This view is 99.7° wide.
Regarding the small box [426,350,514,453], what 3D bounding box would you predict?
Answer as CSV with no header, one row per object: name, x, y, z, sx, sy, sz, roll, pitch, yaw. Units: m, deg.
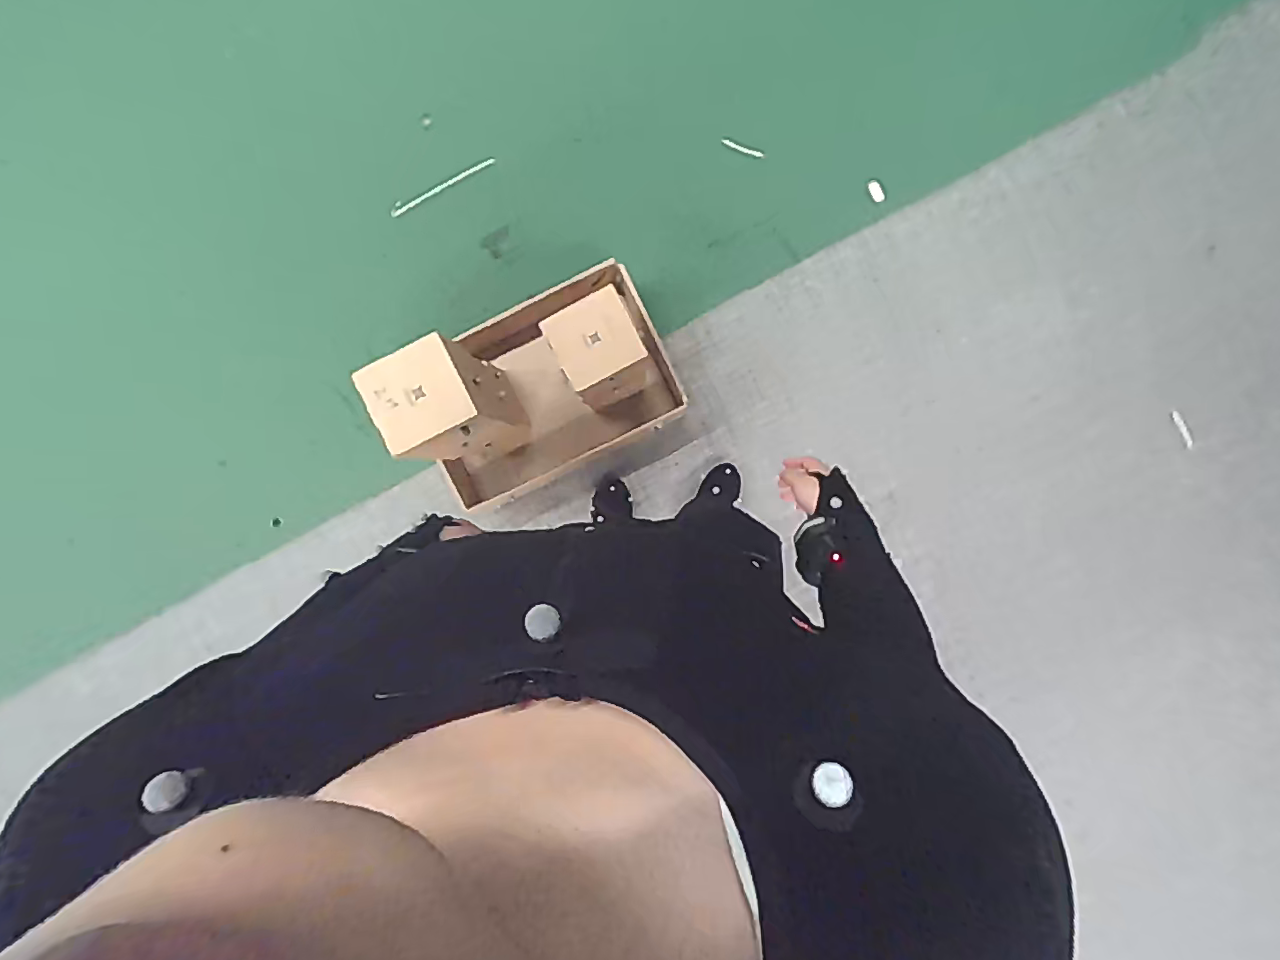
small box,-0.405,-0.166,1.196,0.179,0.176,0.168,-27,93,1

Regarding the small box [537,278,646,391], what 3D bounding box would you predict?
small box,-0.097,-0.306,1.182,0.179,0.176,0.168,-28,94,3

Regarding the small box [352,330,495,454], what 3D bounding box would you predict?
small box,-0.396,-0.161,1.030,0.179,0.176,0.168,-27,92,2

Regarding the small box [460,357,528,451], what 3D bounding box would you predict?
small box,-0.403,-0.186,1.359,0.168,0.176,0.179,-27,93,2
